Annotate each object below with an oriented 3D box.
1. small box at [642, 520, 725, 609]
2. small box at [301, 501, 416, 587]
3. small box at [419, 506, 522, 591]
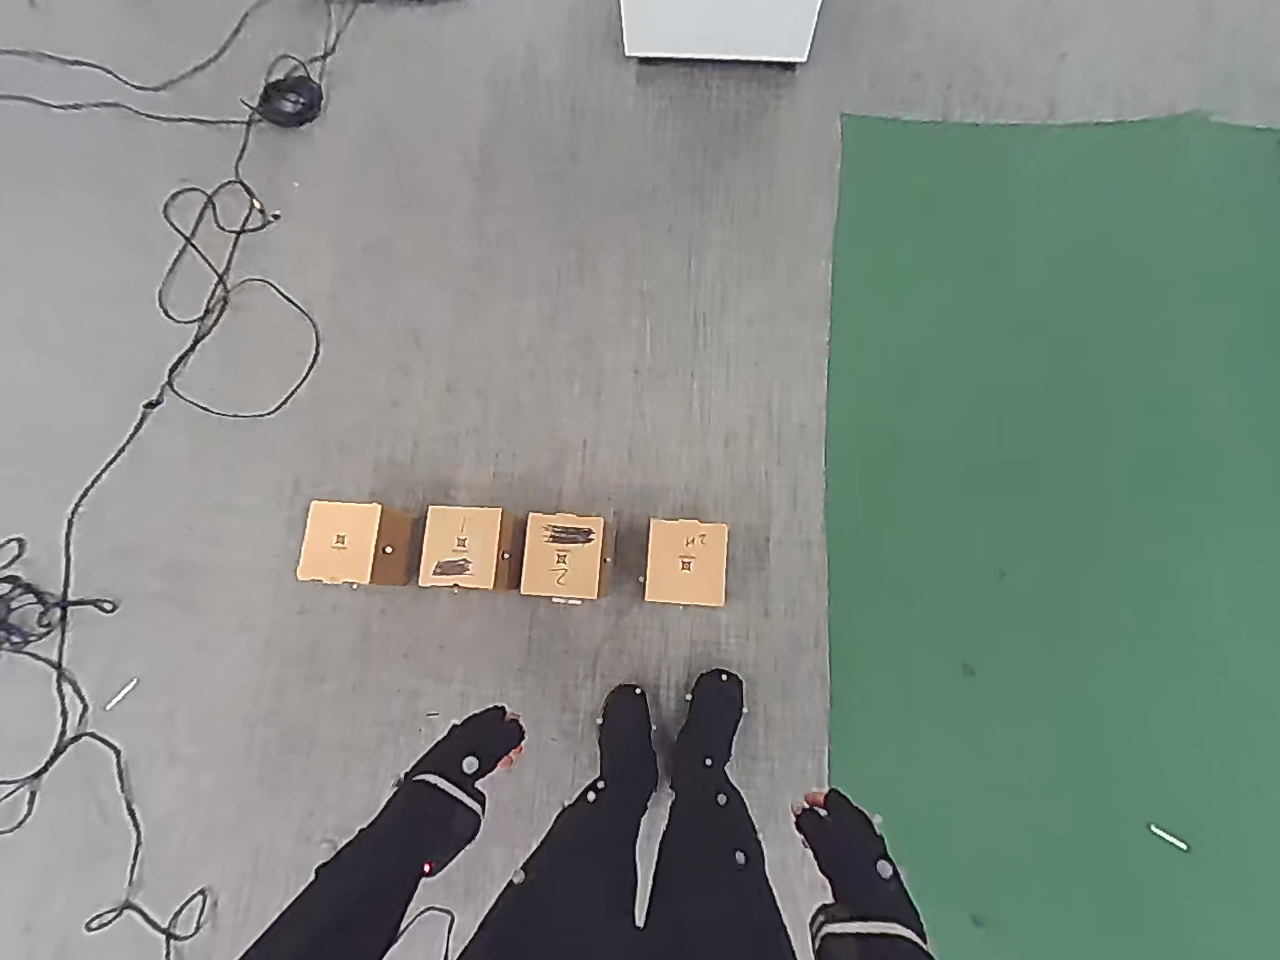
[{"bbox_3d":[0.098,0.190,1.211,0.168,0.176,0.179,4,78,4],"label":"small box"},{"bbox_3d":[-0.646,0.154,1.265,0.168,0.176,0.179,3,78,5],"label":"small box"},{"bbox_3d":[-0.380,0.162,1.244,0.168,0.176,0.179,2,77,5],"label":"small box"}]
